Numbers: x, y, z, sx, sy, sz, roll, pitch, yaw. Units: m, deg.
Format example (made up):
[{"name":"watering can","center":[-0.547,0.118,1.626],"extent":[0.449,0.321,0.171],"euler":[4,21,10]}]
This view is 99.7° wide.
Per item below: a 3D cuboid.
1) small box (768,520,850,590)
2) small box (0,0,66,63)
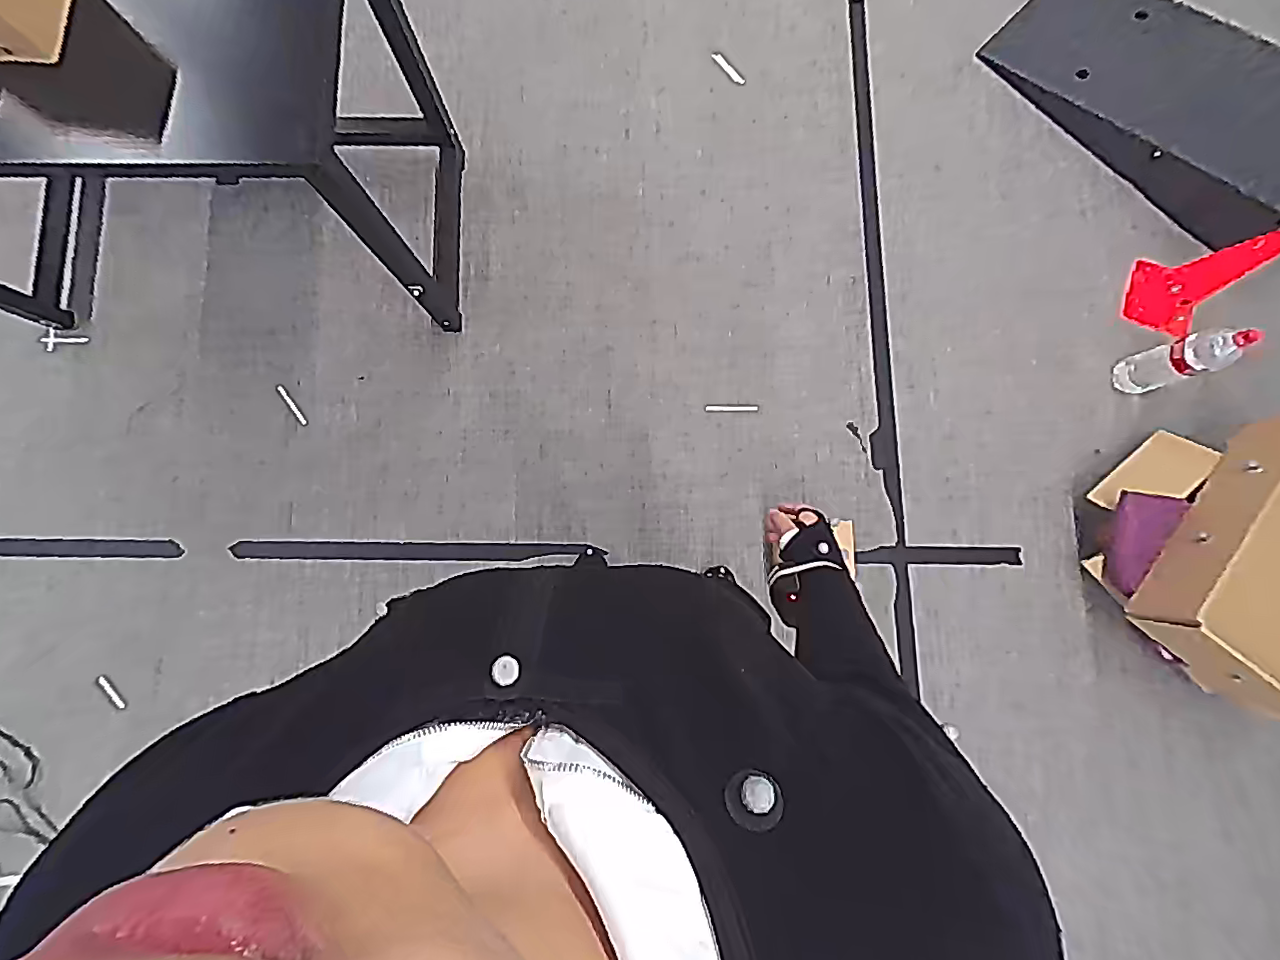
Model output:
[{"name":"small box","center":[0.442,0.198,1.437],"extent":[0.168,0.176,0.179],"euler":[0,83,0]},{"name":"small box","center":[-1.016,-0.774,0.800],"extent":[0.168,0.176,0.179],"euler":[4,83,-1]}]
